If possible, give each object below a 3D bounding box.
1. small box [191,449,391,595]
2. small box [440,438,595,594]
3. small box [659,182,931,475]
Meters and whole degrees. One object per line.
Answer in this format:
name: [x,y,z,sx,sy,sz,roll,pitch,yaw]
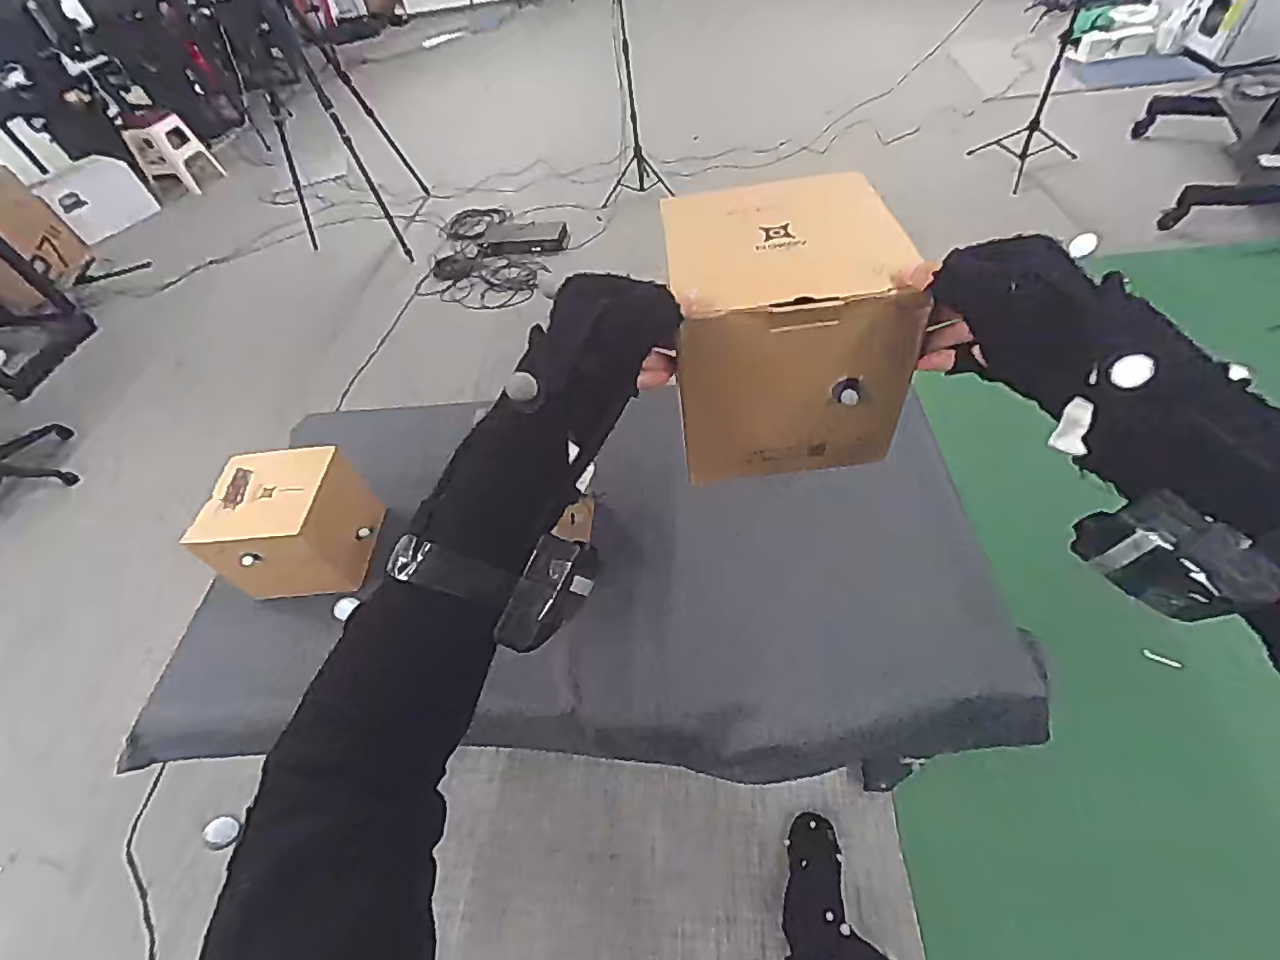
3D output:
small box: [-0.535,0.072,0.858,0.179,0.176,0.168,-5,51,4]
small box: [-0.168,0.060,0.810,0.168,0.176,0.179,-2,52,8]
small box: [0.109,-0.117,0.452,0.168,0.176,0.179,-6,48,4]
